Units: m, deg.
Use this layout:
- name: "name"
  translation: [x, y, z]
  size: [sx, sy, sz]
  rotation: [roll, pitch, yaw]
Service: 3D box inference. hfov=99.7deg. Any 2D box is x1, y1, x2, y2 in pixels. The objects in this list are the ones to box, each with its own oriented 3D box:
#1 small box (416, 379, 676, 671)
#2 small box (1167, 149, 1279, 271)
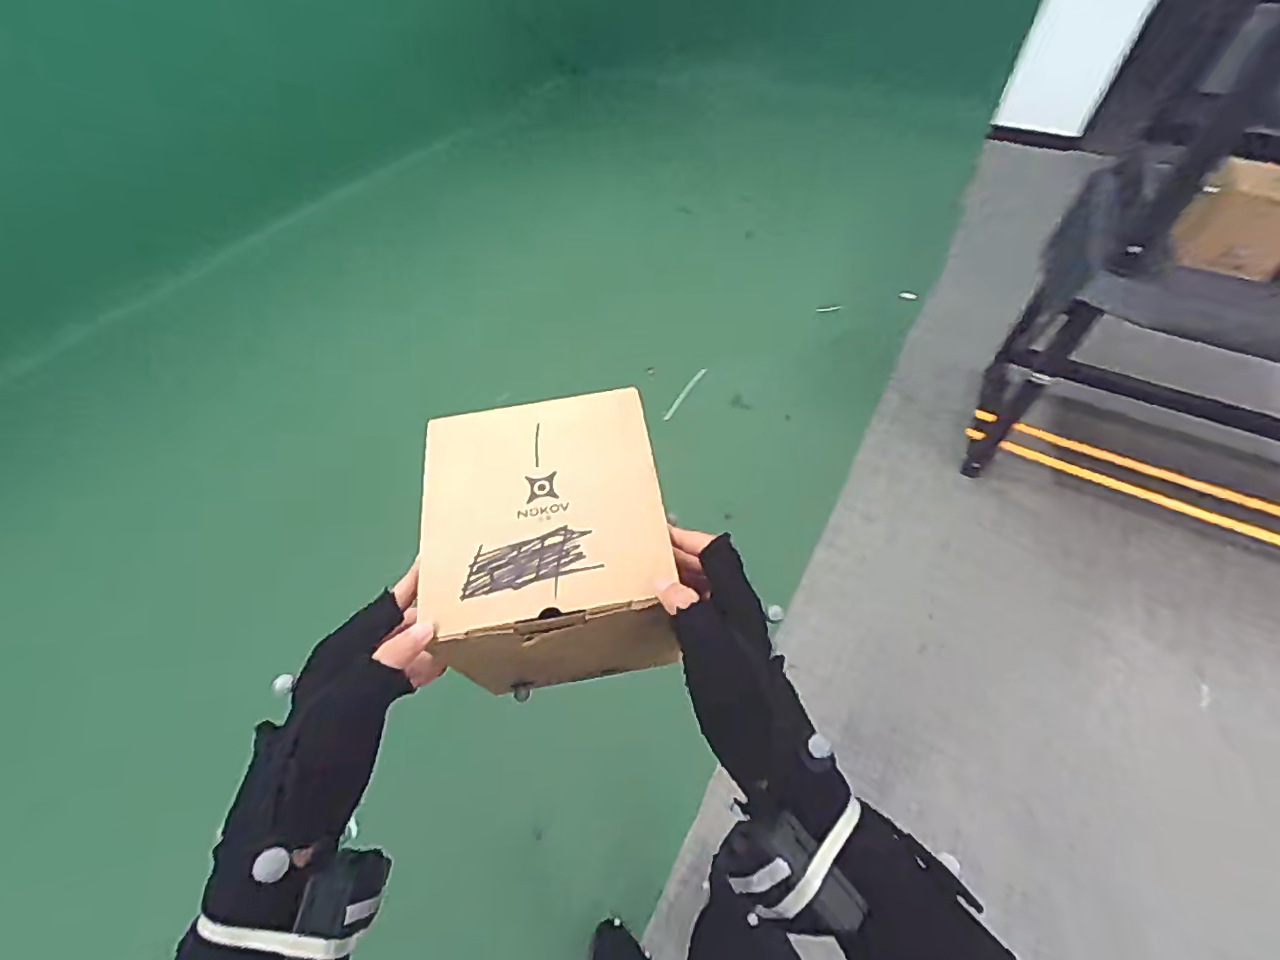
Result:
- name: "small box"
  translation: [-0.064, 0.048, 0.444]
  size: [0.168, 0.176, 0.179]
  rotation: [-9, 58, -2]
- name: "small box"
  translation: [1.317, -0.595, 1.194]
  size: [0.168, 0.176, 0.179]
  rotation: [23, 57, 18]
